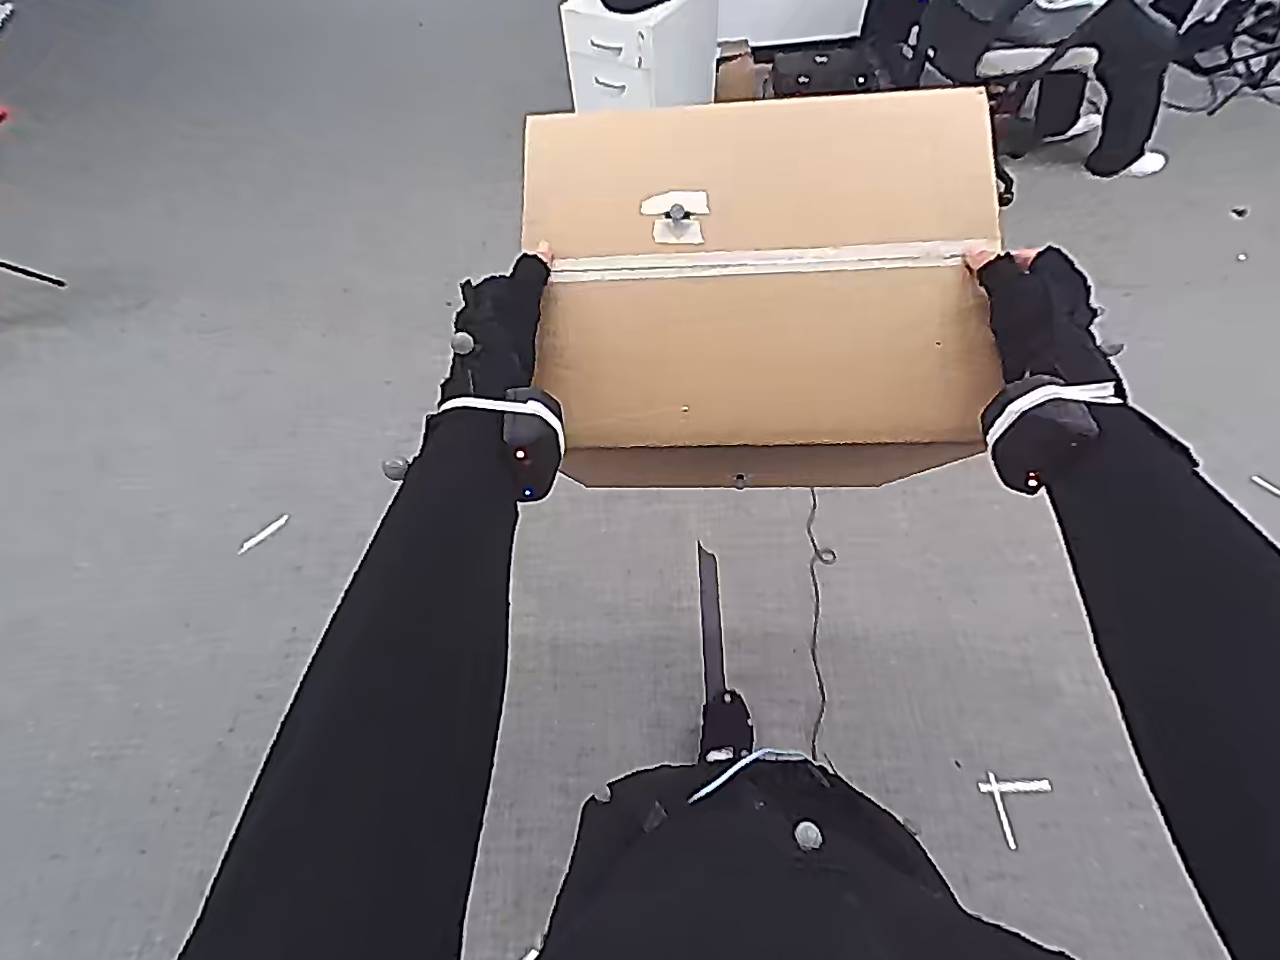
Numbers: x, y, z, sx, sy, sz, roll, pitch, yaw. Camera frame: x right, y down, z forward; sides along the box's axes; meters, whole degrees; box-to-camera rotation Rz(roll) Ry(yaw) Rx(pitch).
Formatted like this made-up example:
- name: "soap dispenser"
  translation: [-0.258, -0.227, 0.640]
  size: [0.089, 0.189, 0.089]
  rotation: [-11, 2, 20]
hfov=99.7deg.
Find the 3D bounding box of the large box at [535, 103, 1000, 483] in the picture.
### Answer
- name: "large box"
  translation: [0.117, -0.166, 0.630]
  size: [0.408, 0.320, 0.320]
  rotation: [-1, 82, 5]
